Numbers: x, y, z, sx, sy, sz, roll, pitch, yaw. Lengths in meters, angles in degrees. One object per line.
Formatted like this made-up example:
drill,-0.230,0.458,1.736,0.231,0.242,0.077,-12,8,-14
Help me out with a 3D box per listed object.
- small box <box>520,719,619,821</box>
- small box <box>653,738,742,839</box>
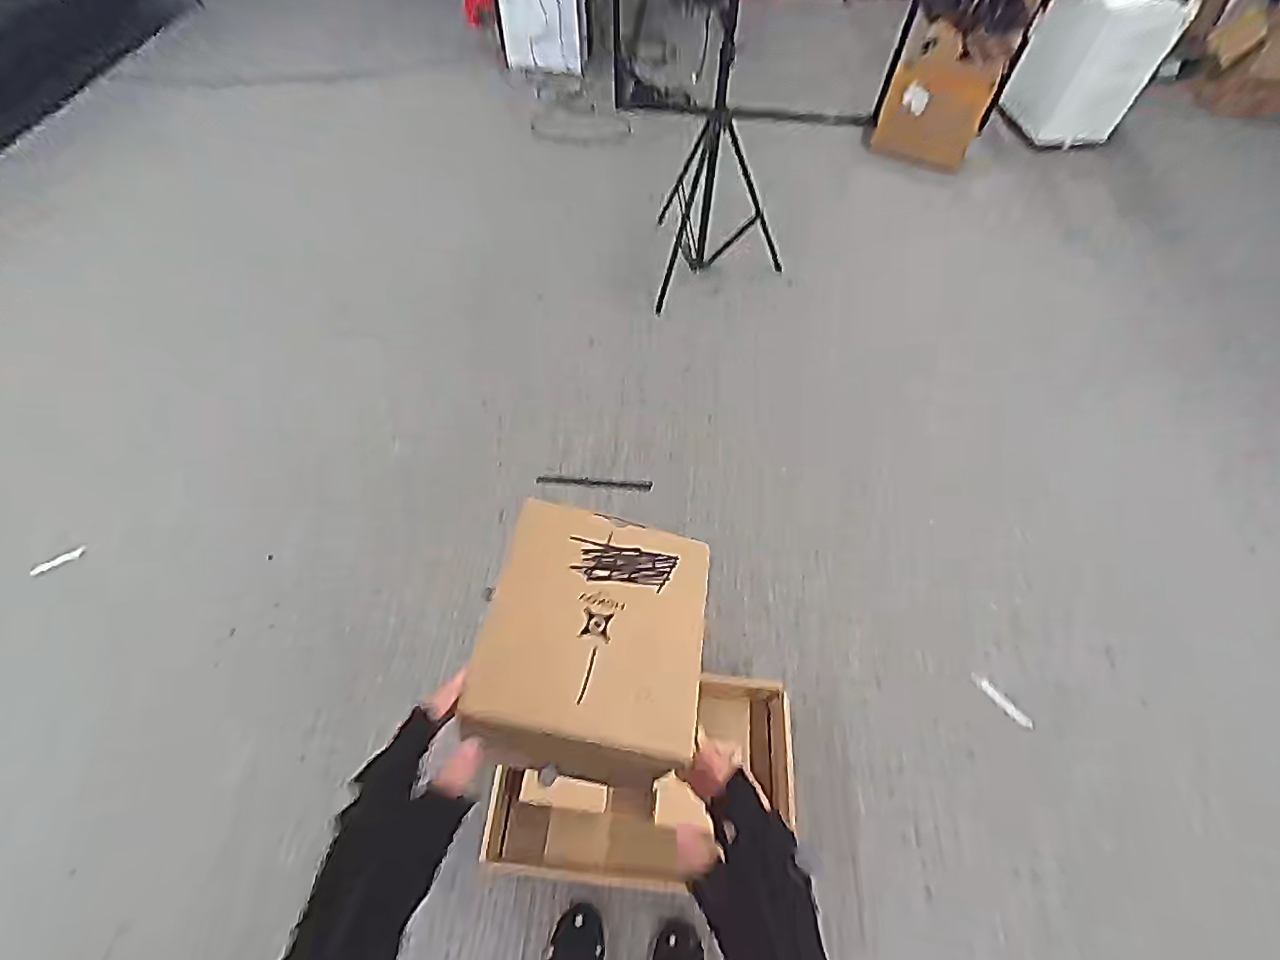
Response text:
small box,-0.145,0.631,1.174,0.179,0.176,0.168,7,57,2
small box,0.121,0.664,1.161,0.179,0.176,0.168,4,58,3
